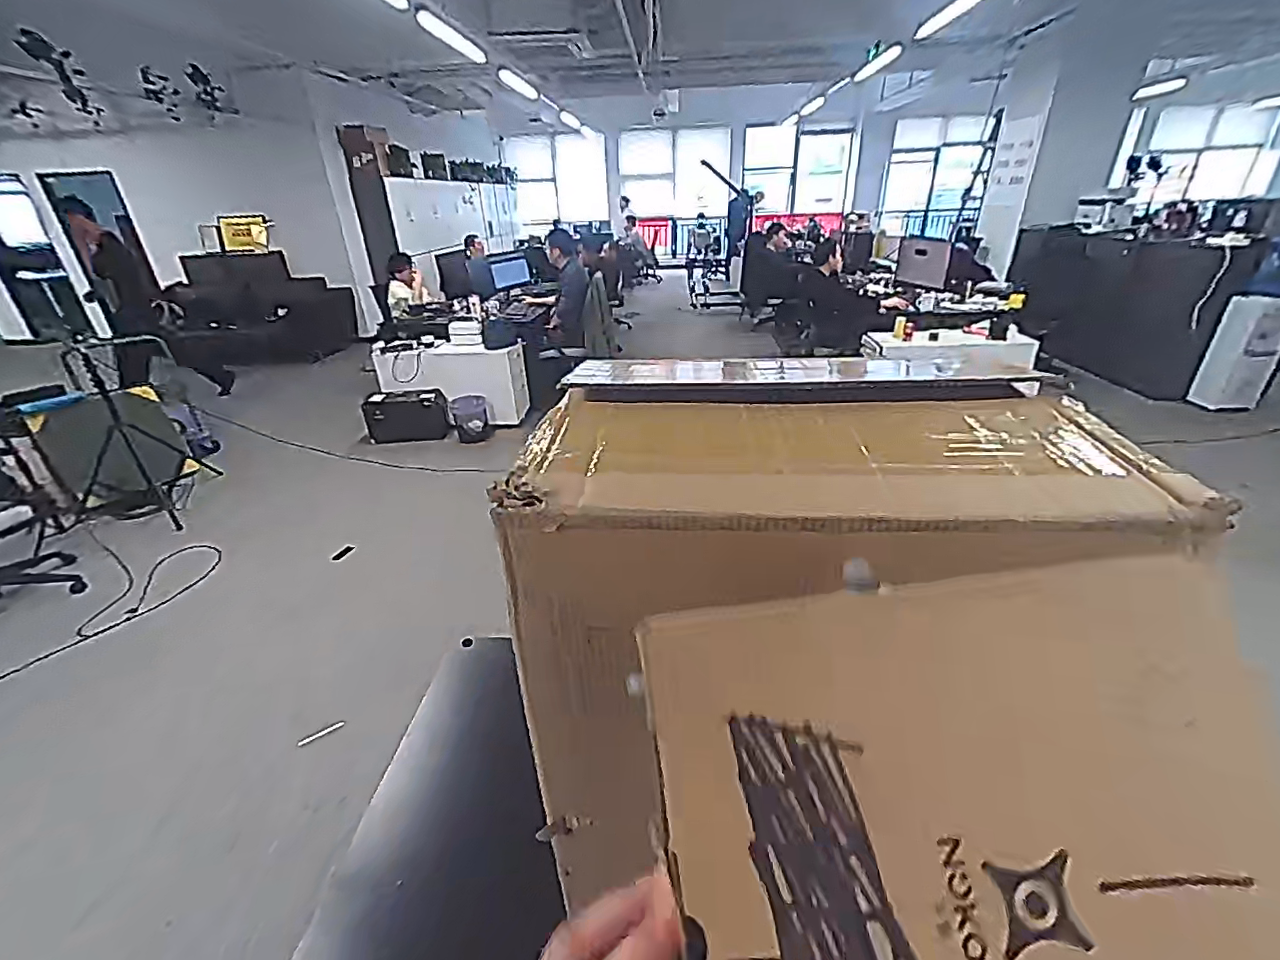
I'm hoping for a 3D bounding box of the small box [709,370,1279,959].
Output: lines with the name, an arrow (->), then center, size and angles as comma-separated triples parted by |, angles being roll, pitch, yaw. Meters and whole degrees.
small box -> 0.117, 0.079, 0.140 | 0.179, 0.168, 0.176 | -8, -12, -1
